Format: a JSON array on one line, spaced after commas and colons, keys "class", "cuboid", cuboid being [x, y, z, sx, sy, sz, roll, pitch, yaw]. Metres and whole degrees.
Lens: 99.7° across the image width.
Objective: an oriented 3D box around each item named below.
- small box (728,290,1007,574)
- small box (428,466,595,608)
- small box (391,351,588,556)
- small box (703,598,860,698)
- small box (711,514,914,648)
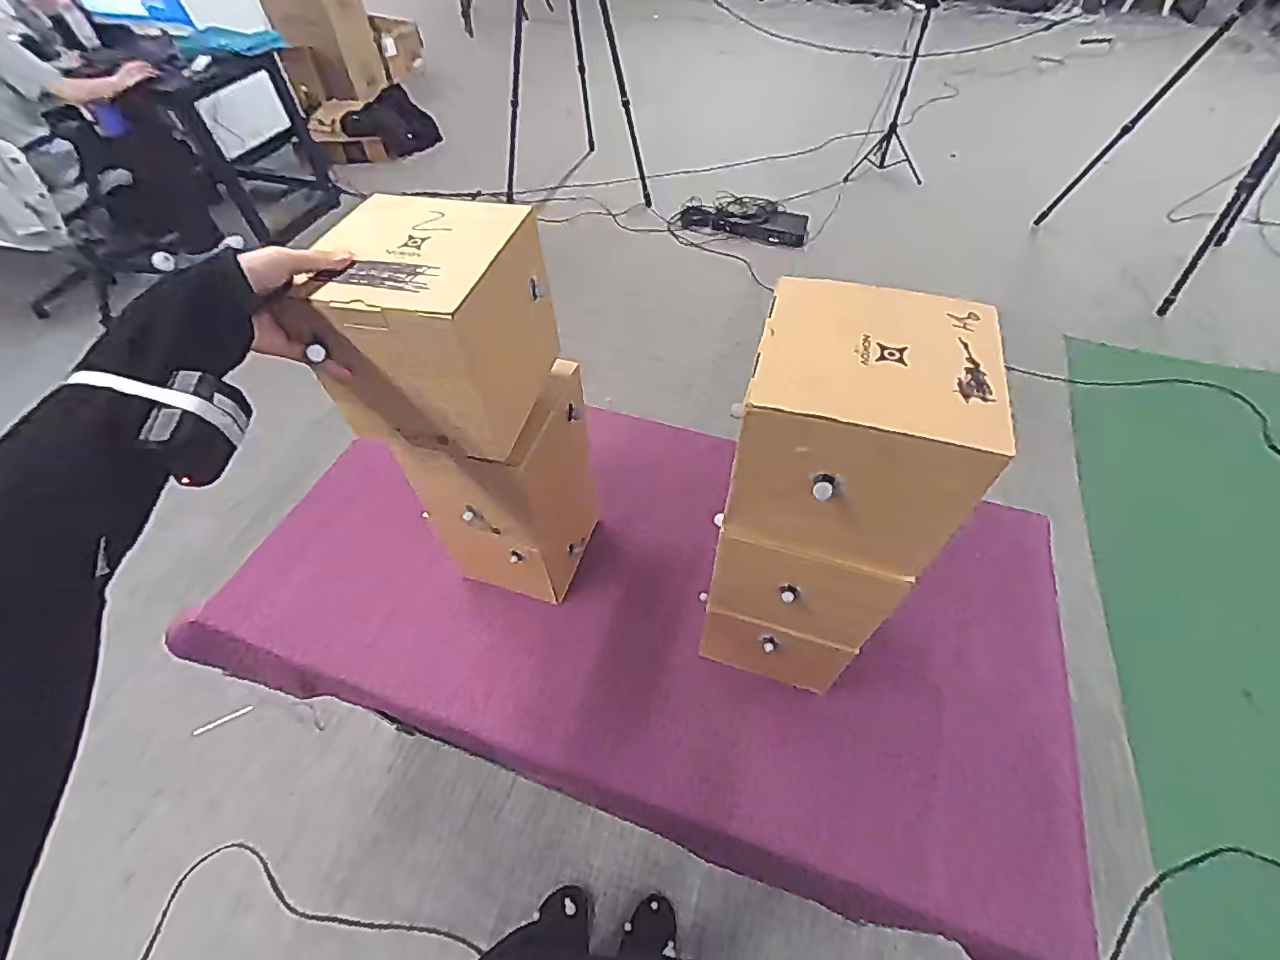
[{"class": "small box", "cuboid": [0.180, -0.039, 0.472, 0.179, 0.176, 0.168, 12, 54, 13]}, {"class": "small box", "cuboid": [-0.179, 0.072, 0.817, 0.179, 0.176, 0.168, 13, 53, 11]}, {"class": "small box", "cuboid": [-0.172, -0.033, 0.689, 0.168, 0.176, 0.179, 13, 53, 12]}, {"class": "small box", "cuboid": [0.189, 0.169, 0.726, 0.179, 0.176, 0.168, 15, 54, 13]}, {"class": "small box", "cuboid": [0.185, 0.066, 0.598, 0.179, 0.176, 0.168, 14, 54, 13]}]
